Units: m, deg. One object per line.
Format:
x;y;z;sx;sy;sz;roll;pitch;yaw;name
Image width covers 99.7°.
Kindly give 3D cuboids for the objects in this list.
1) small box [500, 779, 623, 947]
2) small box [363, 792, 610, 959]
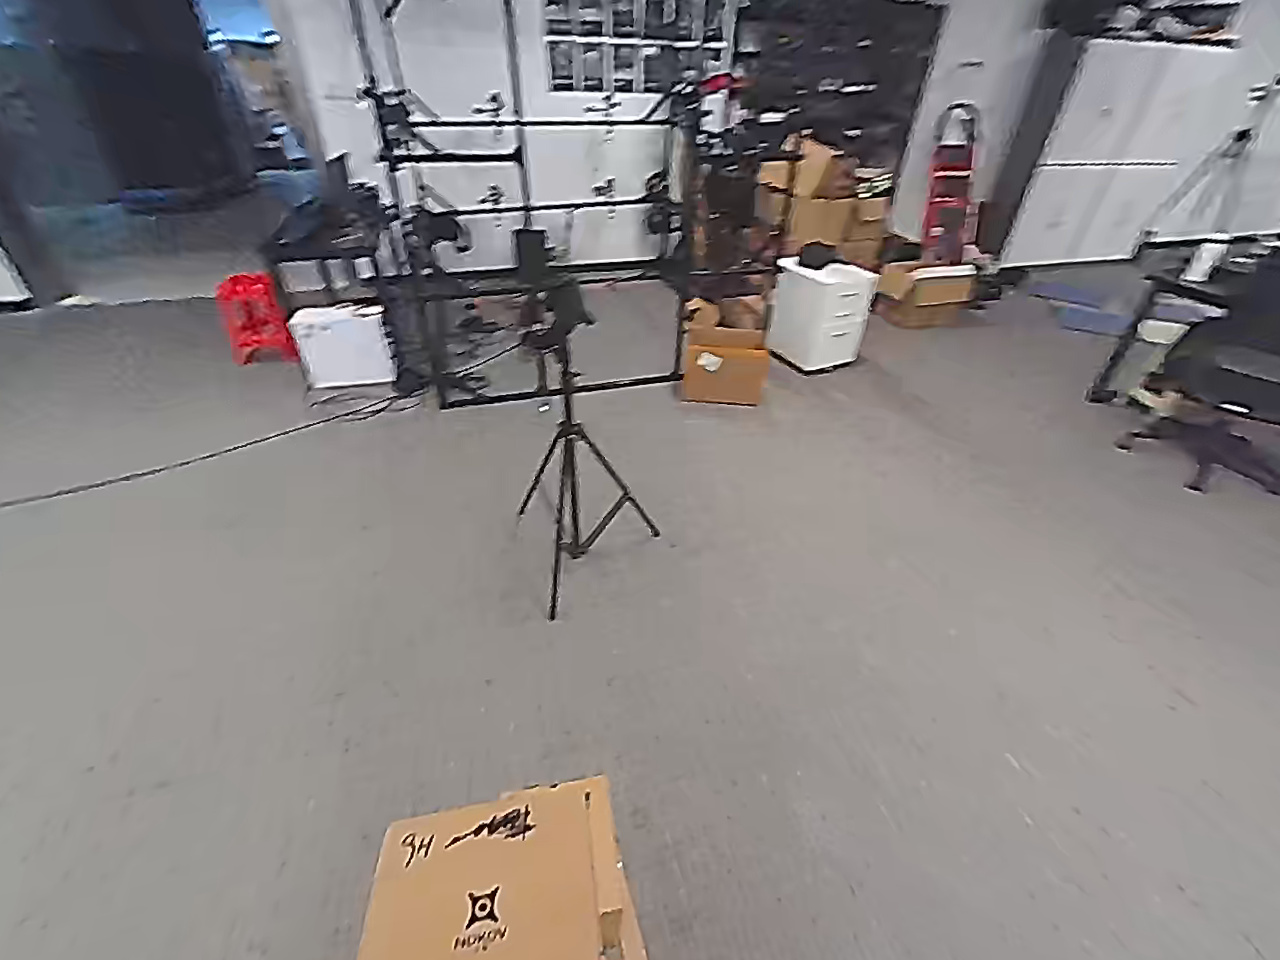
-0.123;0.586;0.811;0.168;0.176;0.179;-4;39;-11;small box
-0.107;0.388;0.421;0.168;0.176;0.179;-6;31;-9;small box
